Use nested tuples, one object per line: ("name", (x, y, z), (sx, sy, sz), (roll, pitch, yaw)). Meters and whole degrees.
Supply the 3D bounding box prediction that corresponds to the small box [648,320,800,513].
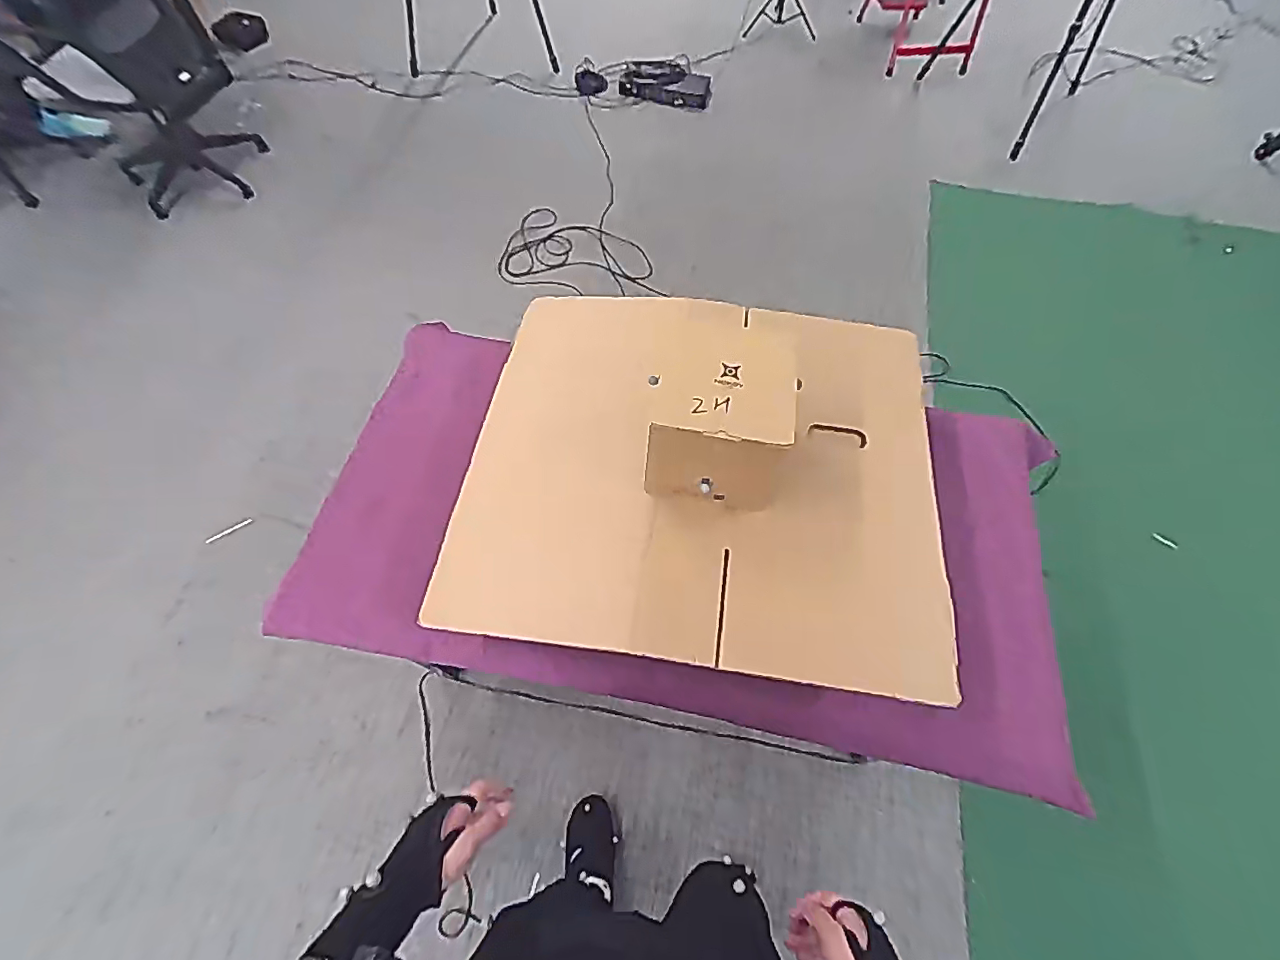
("small box", (0.106, -0.079, 0.721), (0.168, 0.176, 0.179), (10, 62, 3))
